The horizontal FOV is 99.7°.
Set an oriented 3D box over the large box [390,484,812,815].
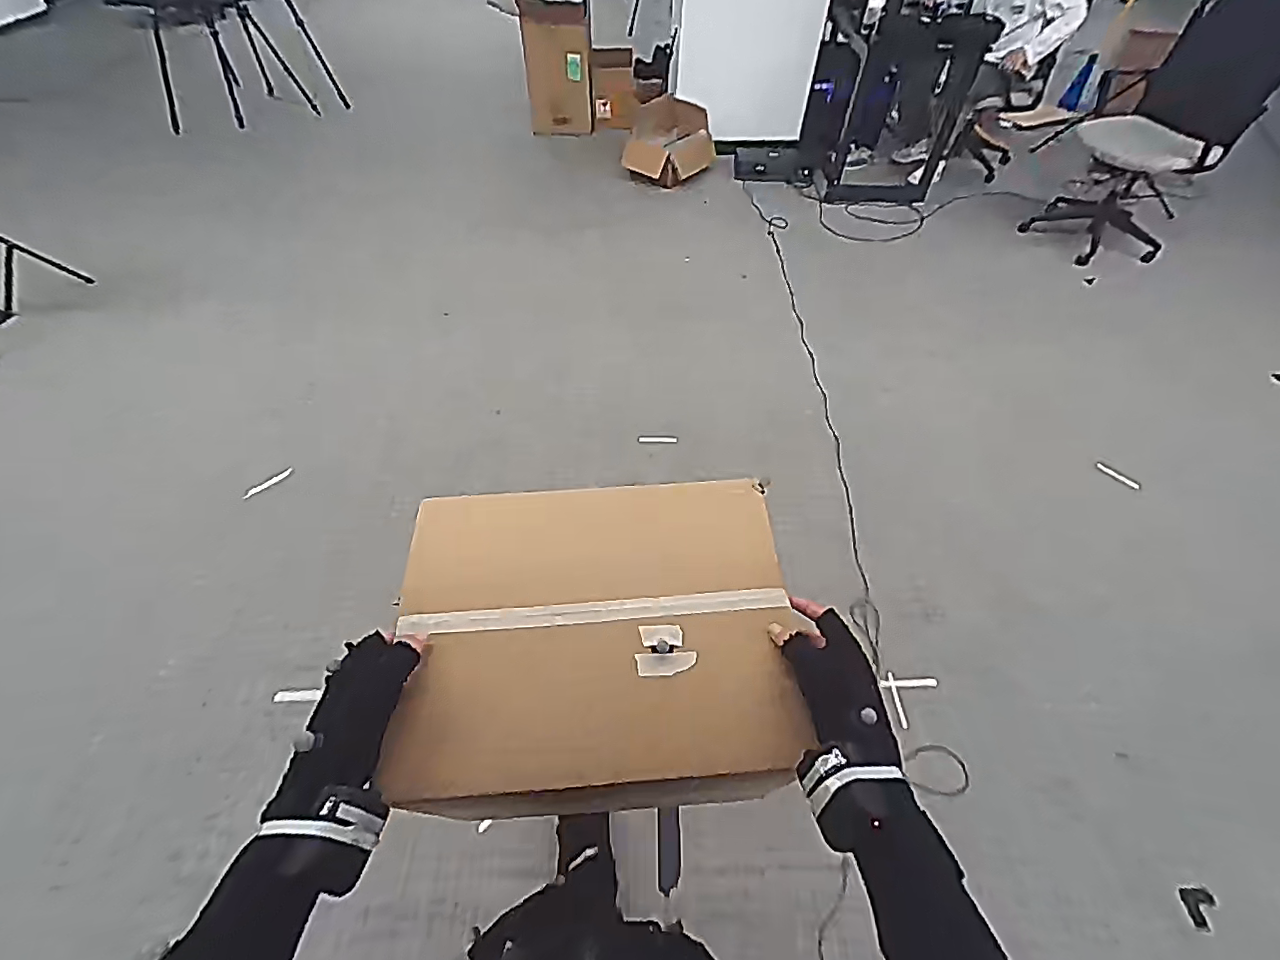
[{"bbox_3d":[-0.048,0.228,0.706,0.408,0.320,0.320,-3,55,-3],"label":"large box"}]
